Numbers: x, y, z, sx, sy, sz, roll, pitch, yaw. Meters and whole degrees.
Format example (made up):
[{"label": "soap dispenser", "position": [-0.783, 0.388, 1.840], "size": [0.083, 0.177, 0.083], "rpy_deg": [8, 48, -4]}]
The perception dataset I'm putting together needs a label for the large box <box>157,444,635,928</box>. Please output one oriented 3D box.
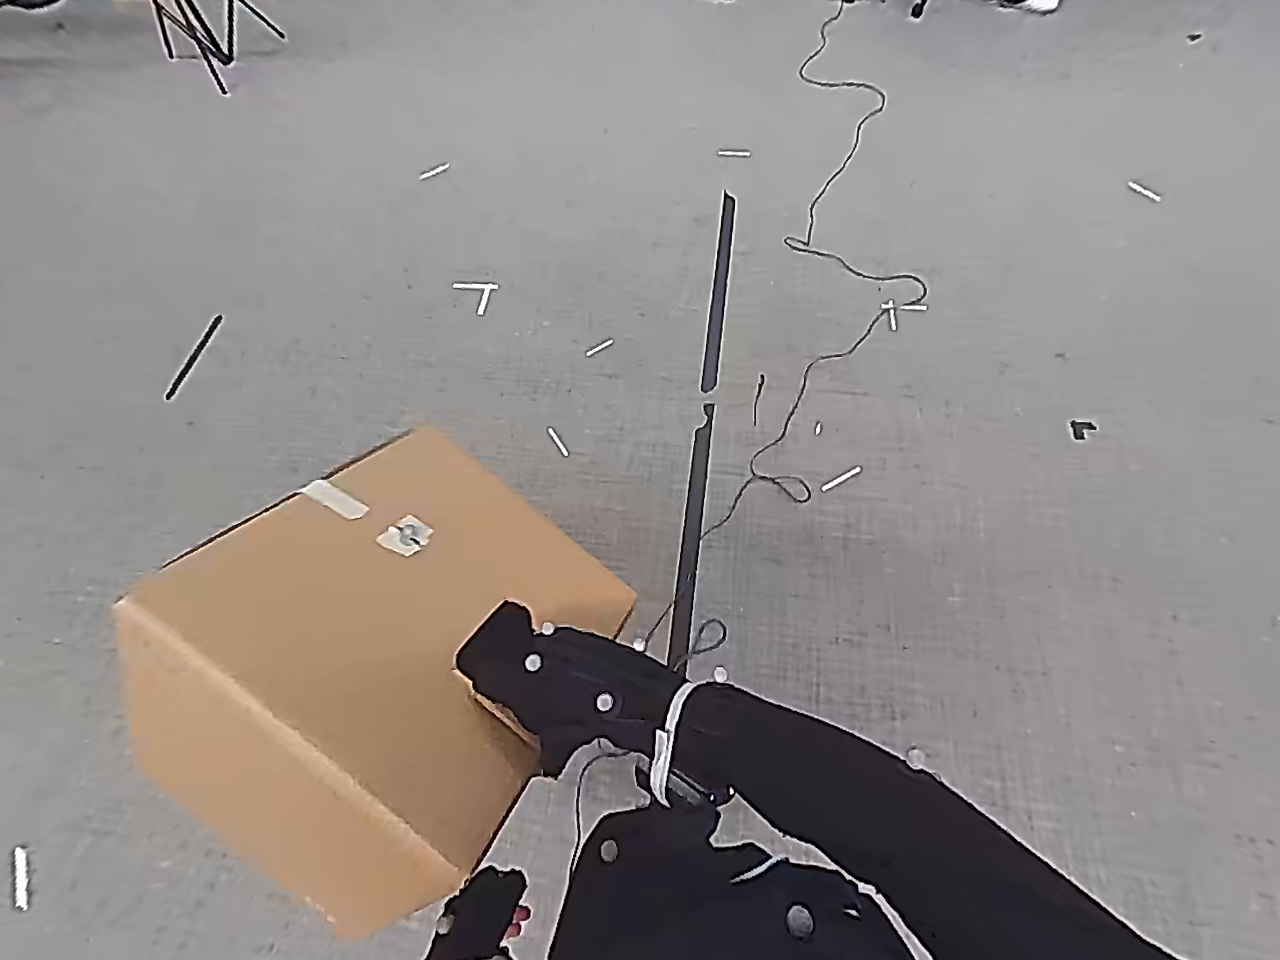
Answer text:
[{"label": "large box", "position": [-0.276, 0.235, 0.628], "size": [0.320, 0.408, 0.320], "rpy_deg": [41, 37, 2]}]
